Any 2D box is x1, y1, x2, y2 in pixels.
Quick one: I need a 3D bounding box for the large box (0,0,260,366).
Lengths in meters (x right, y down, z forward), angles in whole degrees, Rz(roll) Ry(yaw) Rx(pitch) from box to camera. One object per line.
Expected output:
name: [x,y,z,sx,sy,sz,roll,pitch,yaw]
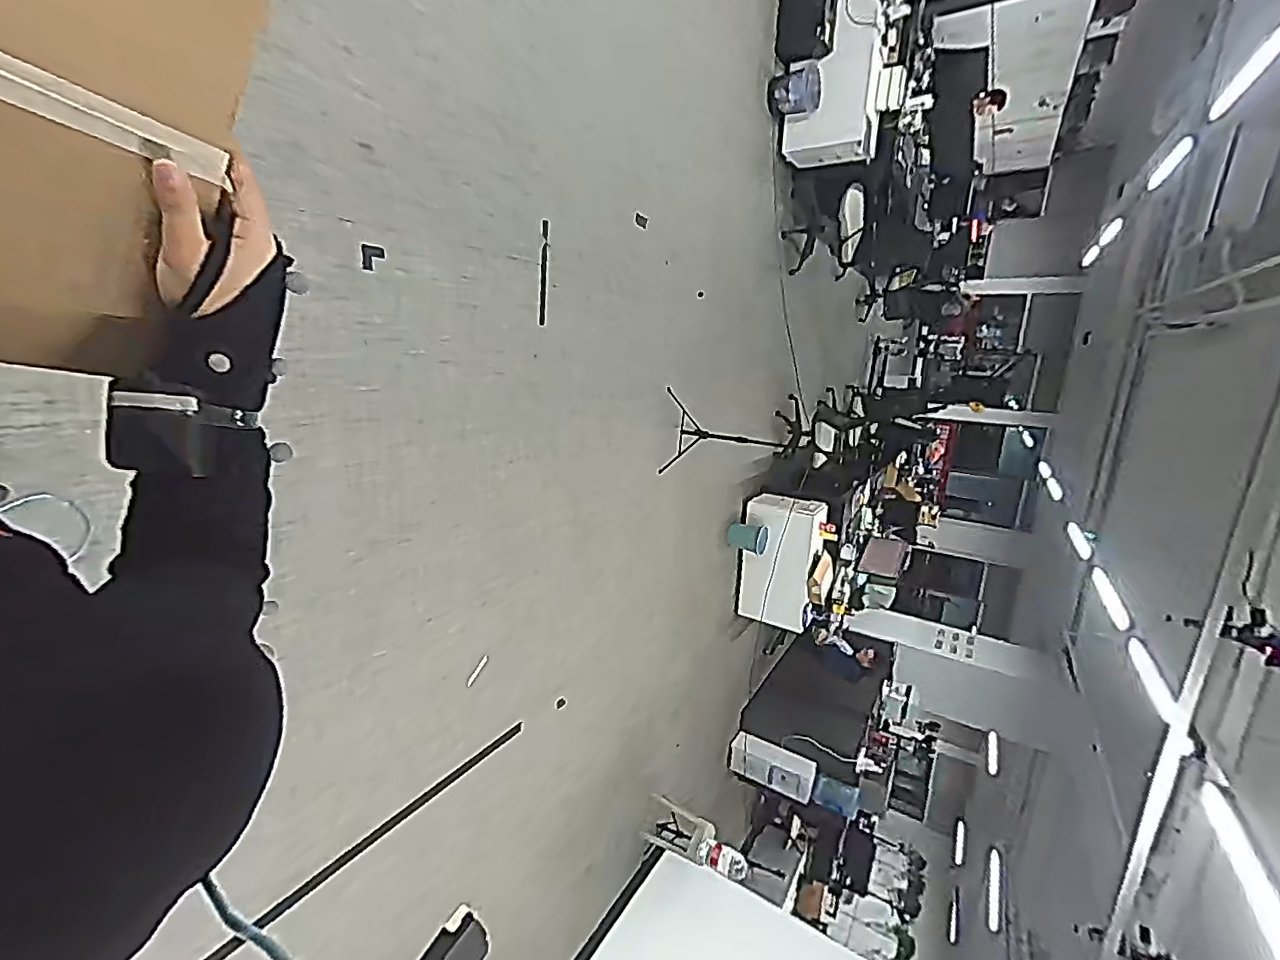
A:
large box: [-0.484,-0.288,0.243,0.320,0.320,0.408,-58,155,17]
